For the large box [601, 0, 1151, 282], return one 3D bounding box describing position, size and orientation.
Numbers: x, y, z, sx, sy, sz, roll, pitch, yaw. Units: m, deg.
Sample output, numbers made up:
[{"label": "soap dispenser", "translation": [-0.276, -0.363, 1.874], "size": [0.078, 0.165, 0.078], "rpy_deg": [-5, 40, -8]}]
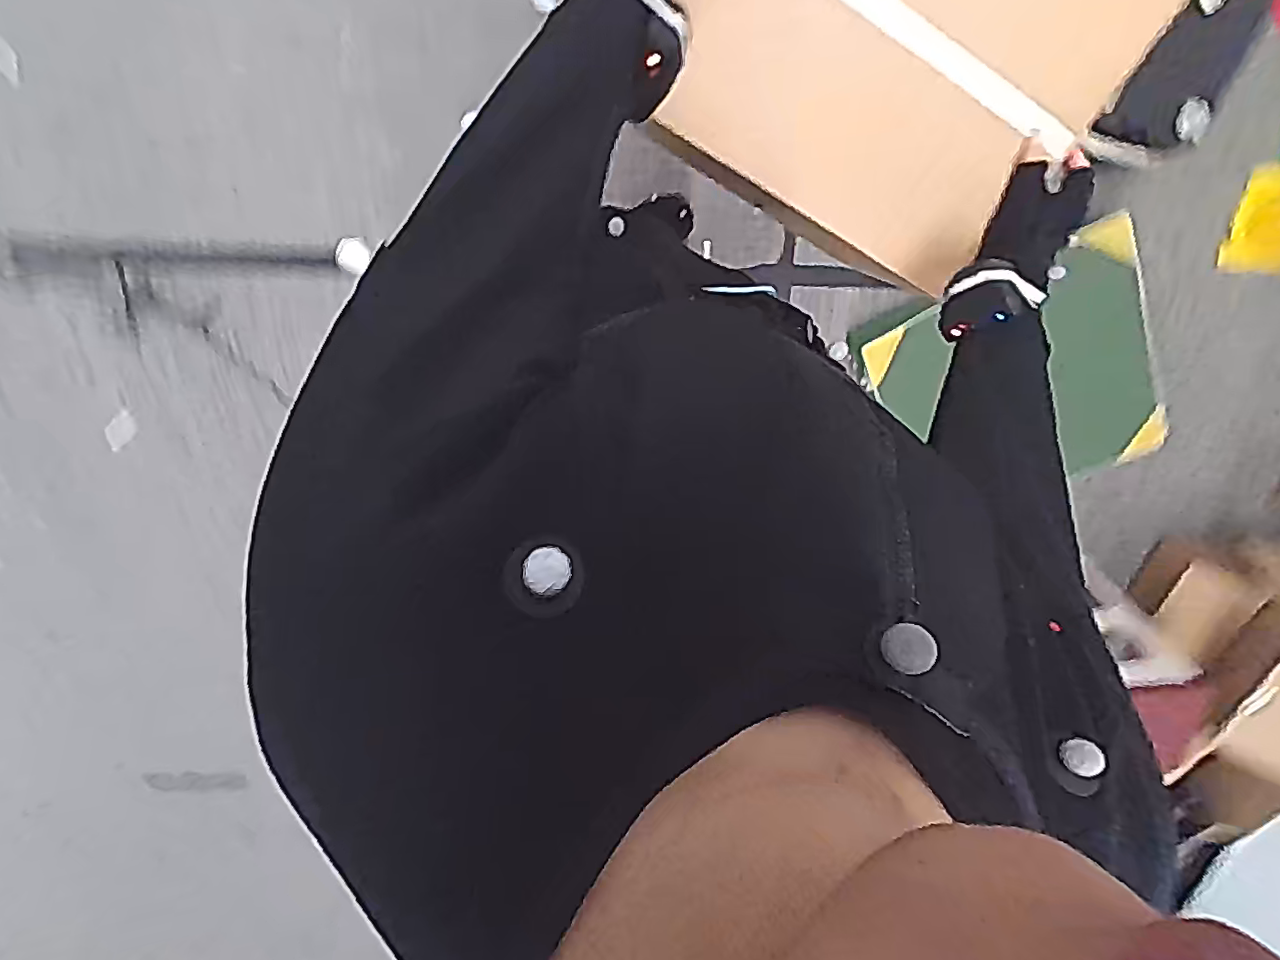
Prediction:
[{"label": "large box", "translation": [0.214, -0.473, 0.598], "size": [0.408, 0.320, 0.320], "rpy_deg": [25, 115, -11]}]
